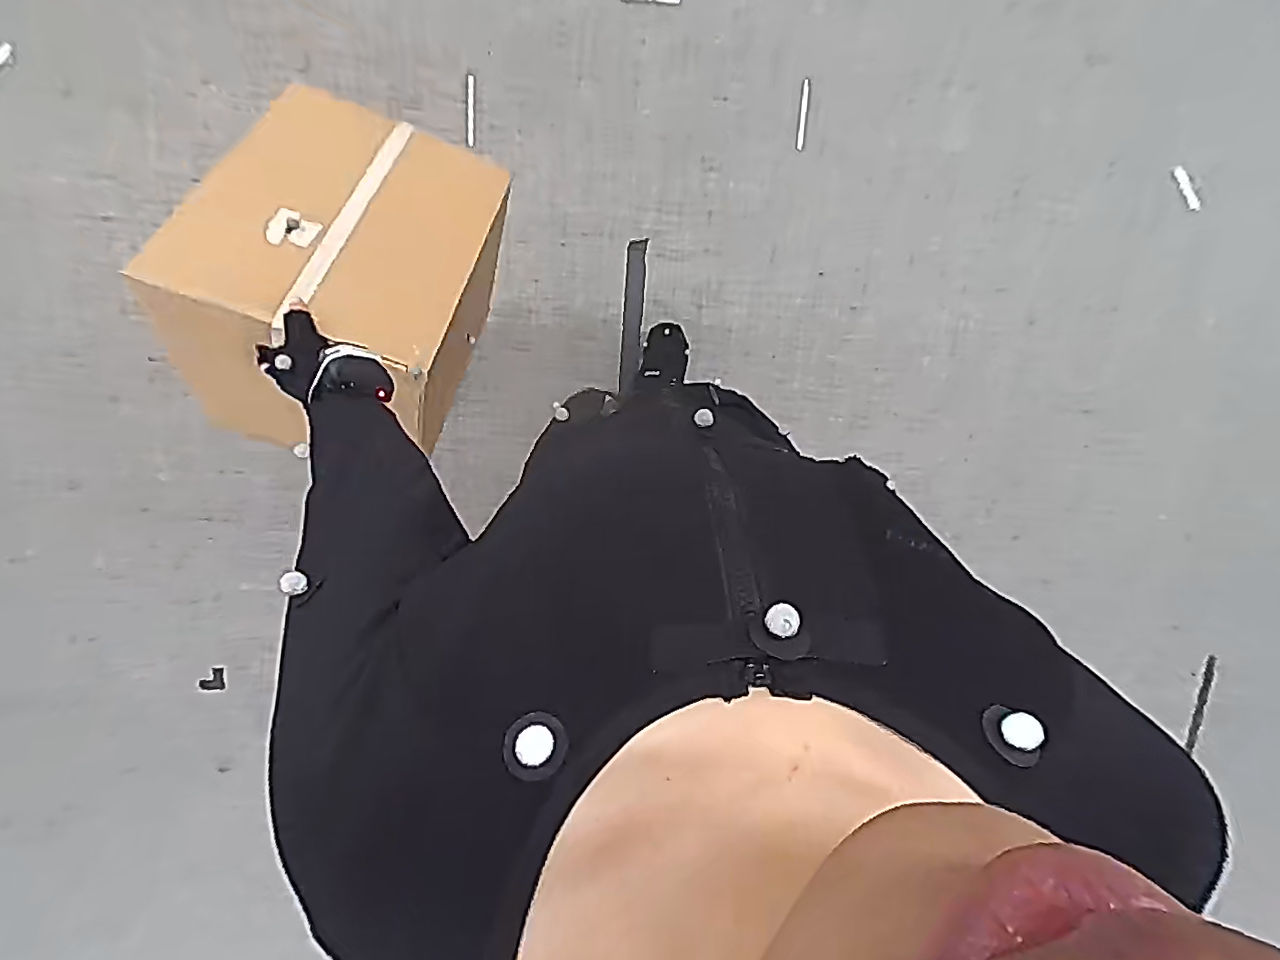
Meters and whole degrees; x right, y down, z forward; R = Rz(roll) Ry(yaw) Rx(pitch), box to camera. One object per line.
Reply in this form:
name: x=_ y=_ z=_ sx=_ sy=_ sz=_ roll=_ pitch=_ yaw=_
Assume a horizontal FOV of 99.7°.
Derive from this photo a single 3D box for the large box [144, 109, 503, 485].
large box: x=-0.429 y=-0.264 z=0.843 sx=0.320 sy=0.320 sz=0.408 roll=16 pitch=59 yaw=-13
